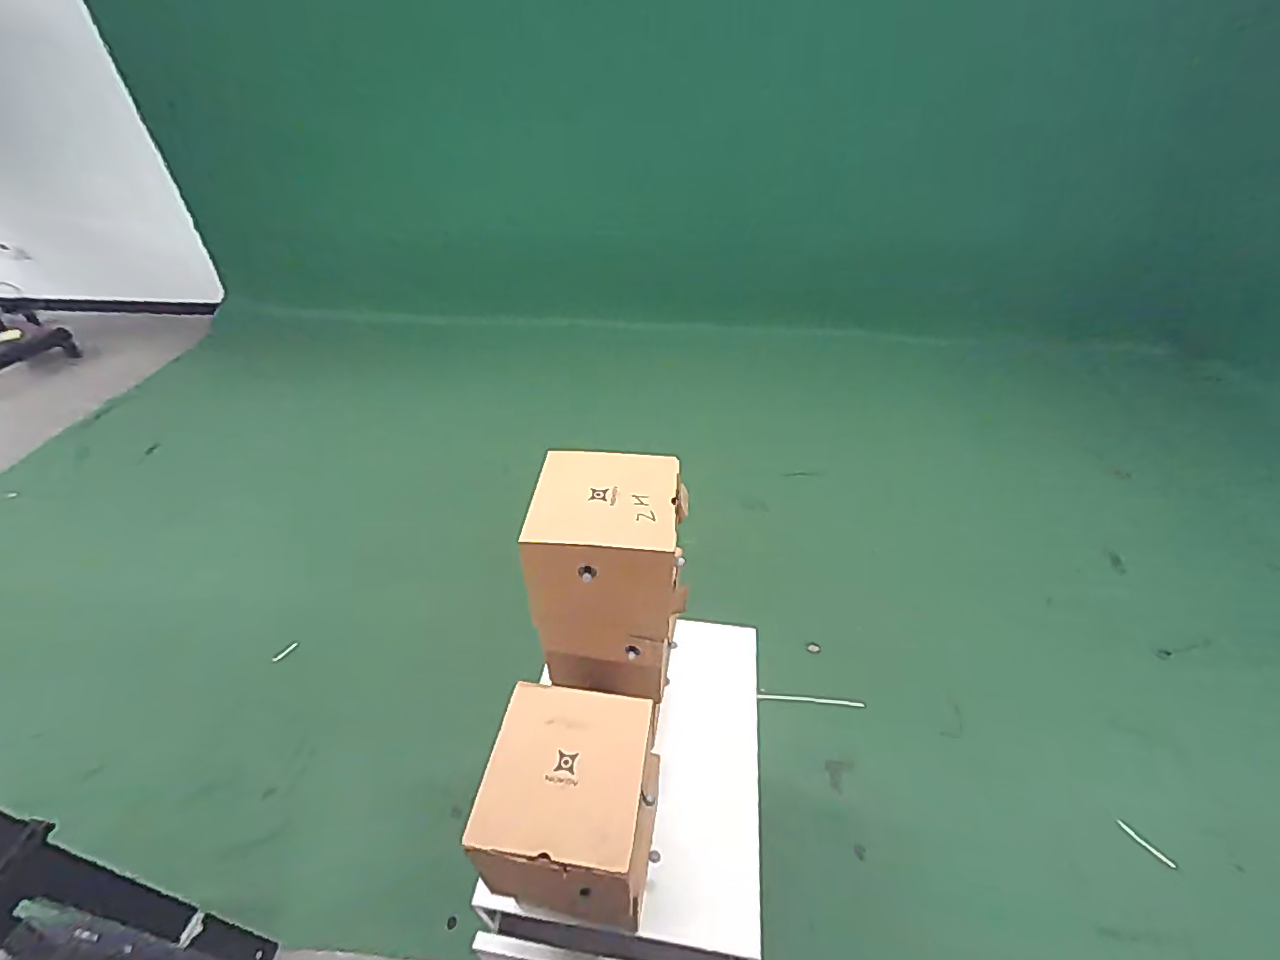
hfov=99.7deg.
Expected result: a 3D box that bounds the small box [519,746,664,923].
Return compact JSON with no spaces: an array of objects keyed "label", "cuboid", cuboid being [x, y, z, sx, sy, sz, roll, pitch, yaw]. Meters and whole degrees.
[{"label":"small box","cuboid":[-0.069,0.466,0.733,0.179,0.176,0.168,8,40,8]}]

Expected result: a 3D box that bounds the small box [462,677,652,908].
[{"label":"small box","cuboid":[-0.077,0.356,0.616,0.168,0.176,0.179,6,41,5]}]

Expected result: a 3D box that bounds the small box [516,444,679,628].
[{"label":"small box","cuboid":[-0.043,0.073,0.692,0.179,0.176,0.168,4,42,3]}]

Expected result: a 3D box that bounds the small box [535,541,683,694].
[{"label":"small box","cuboid":[-0.038,0.194,0.804,0.179,0.176,0.168,8,41,8]}]
